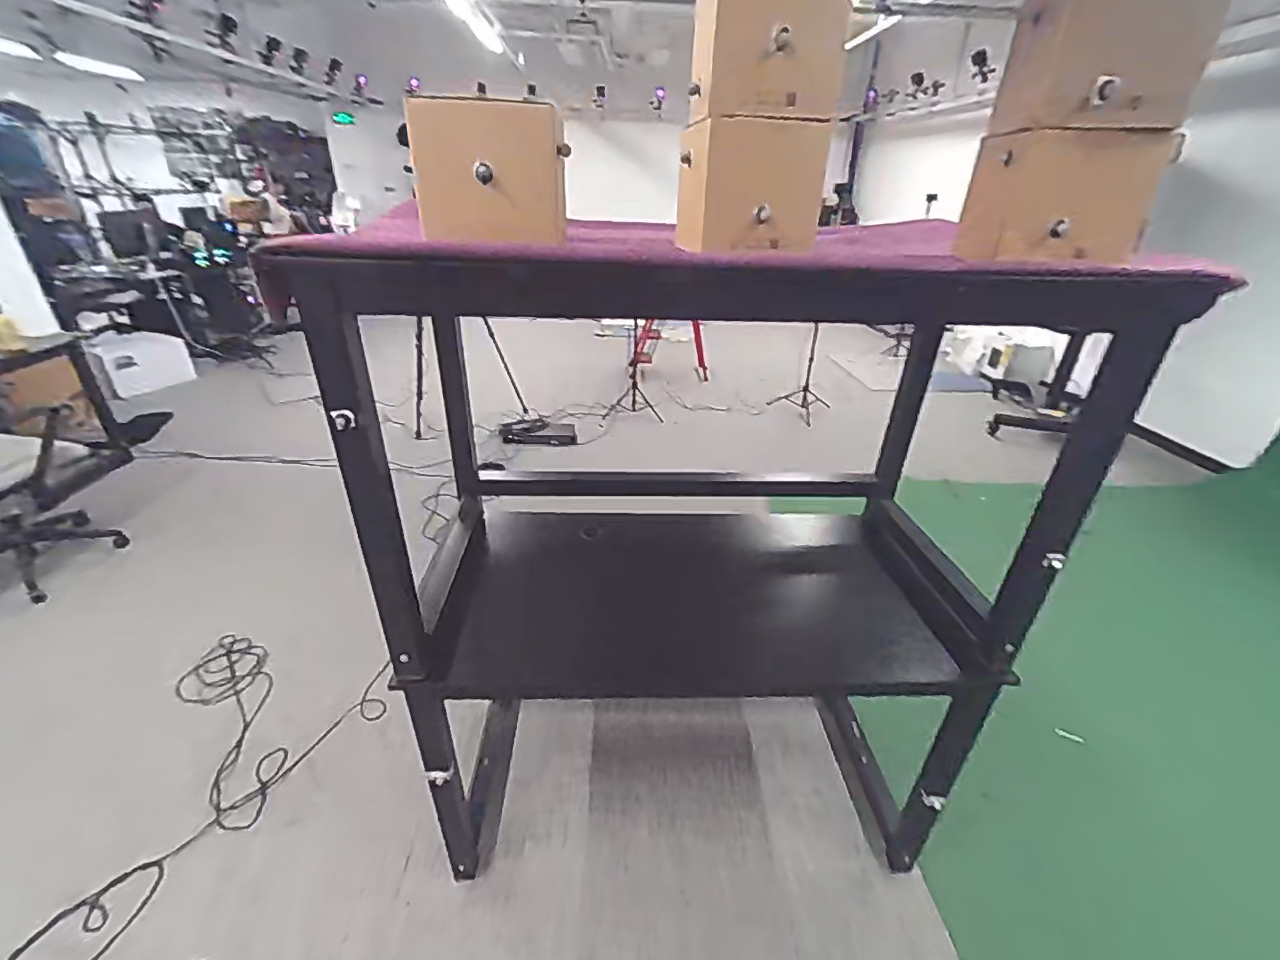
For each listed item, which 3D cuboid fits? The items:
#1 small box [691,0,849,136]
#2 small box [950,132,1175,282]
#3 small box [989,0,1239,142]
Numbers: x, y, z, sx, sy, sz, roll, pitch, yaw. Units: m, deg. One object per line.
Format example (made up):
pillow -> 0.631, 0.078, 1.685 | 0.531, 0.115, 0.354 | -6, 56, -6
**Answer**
small box -> 0.164, -0.564, 0.720 | 0.168, 0.176, 0.179 | 0, 29, -4
small box -> 0.573, -0.387, 0.768 | 0.168, 0.176, 0.179 | 5, 30, 7
small box -> 0.576, -0.525, 0.682 | 0.168, 0.176, 0.179 | 6, 31, 11
